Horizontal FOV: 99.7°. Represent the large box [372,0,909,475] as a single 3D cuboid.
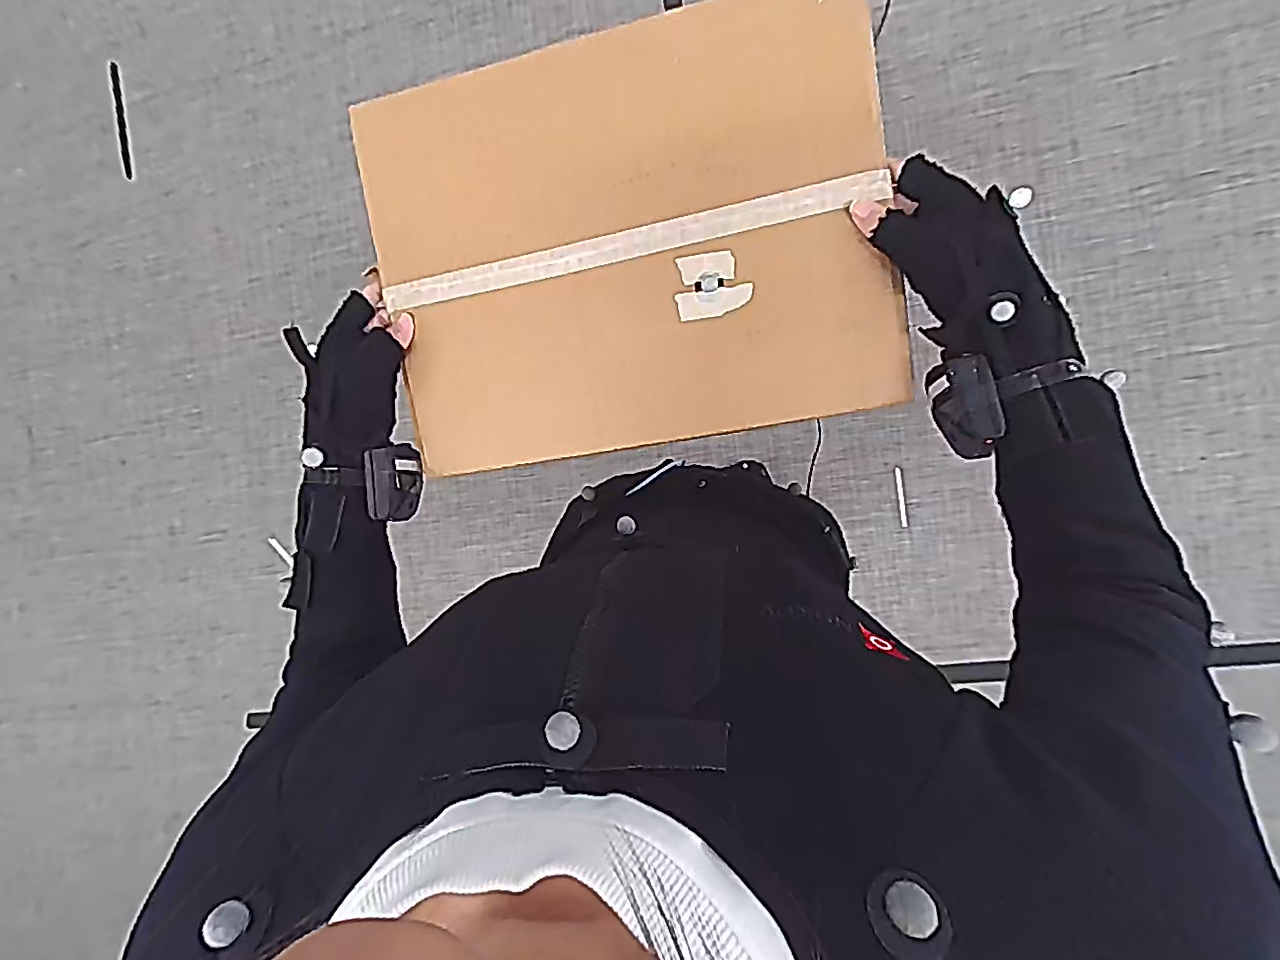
[{"bbox_3d":[0.010,-0.202,0.583,0.408,0.320,0.320,-9,96,9],"label":"large box"}]
